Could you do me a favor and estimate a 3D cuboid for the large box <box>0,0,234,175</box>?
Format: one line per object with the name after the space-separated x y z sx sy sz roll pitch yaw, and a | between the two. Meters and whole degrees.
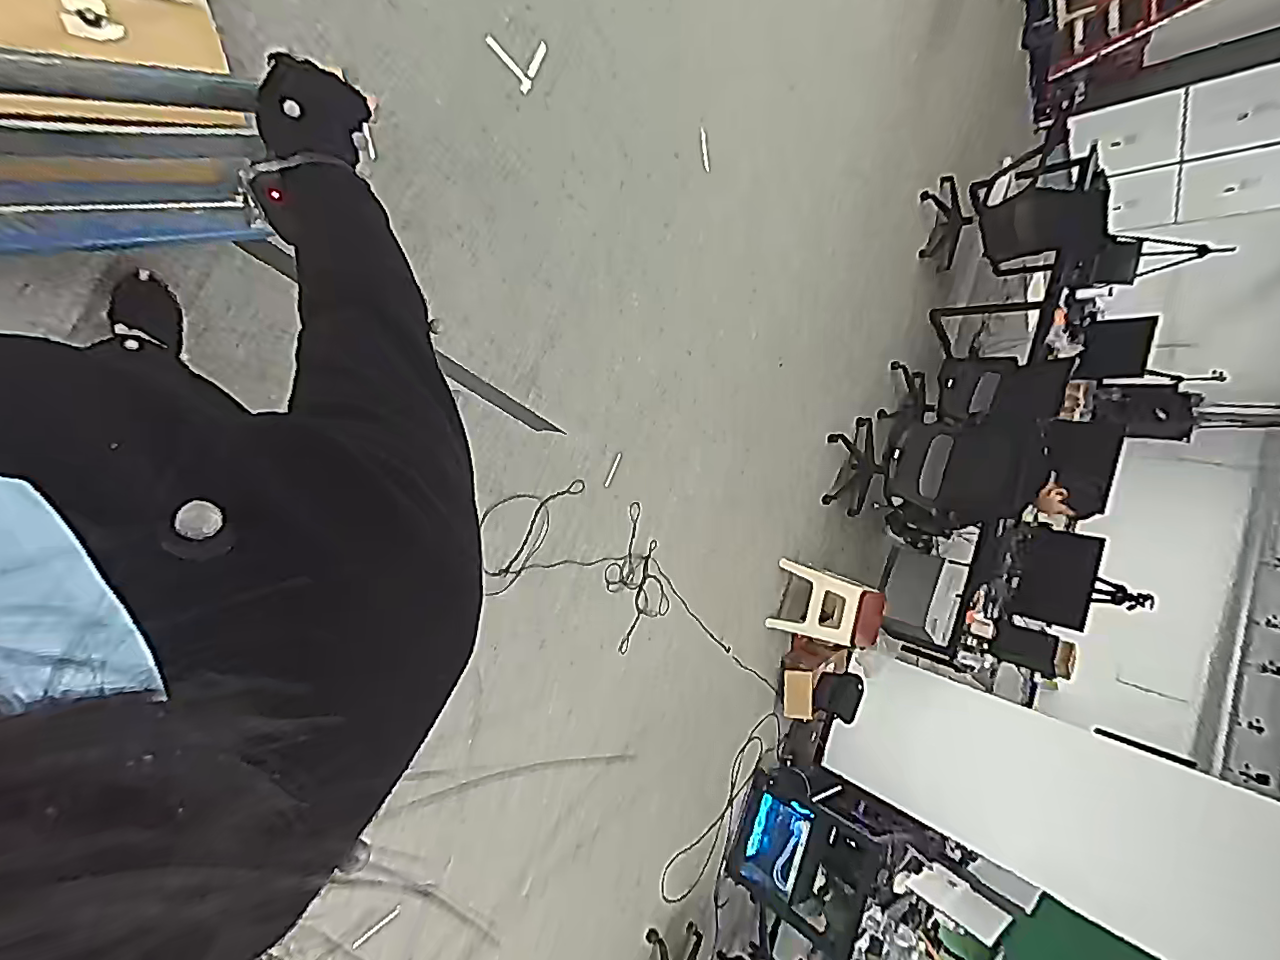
-0.861 -0.616 0.721 0.408 0.320 0.320 -27 117 -41 | large box
